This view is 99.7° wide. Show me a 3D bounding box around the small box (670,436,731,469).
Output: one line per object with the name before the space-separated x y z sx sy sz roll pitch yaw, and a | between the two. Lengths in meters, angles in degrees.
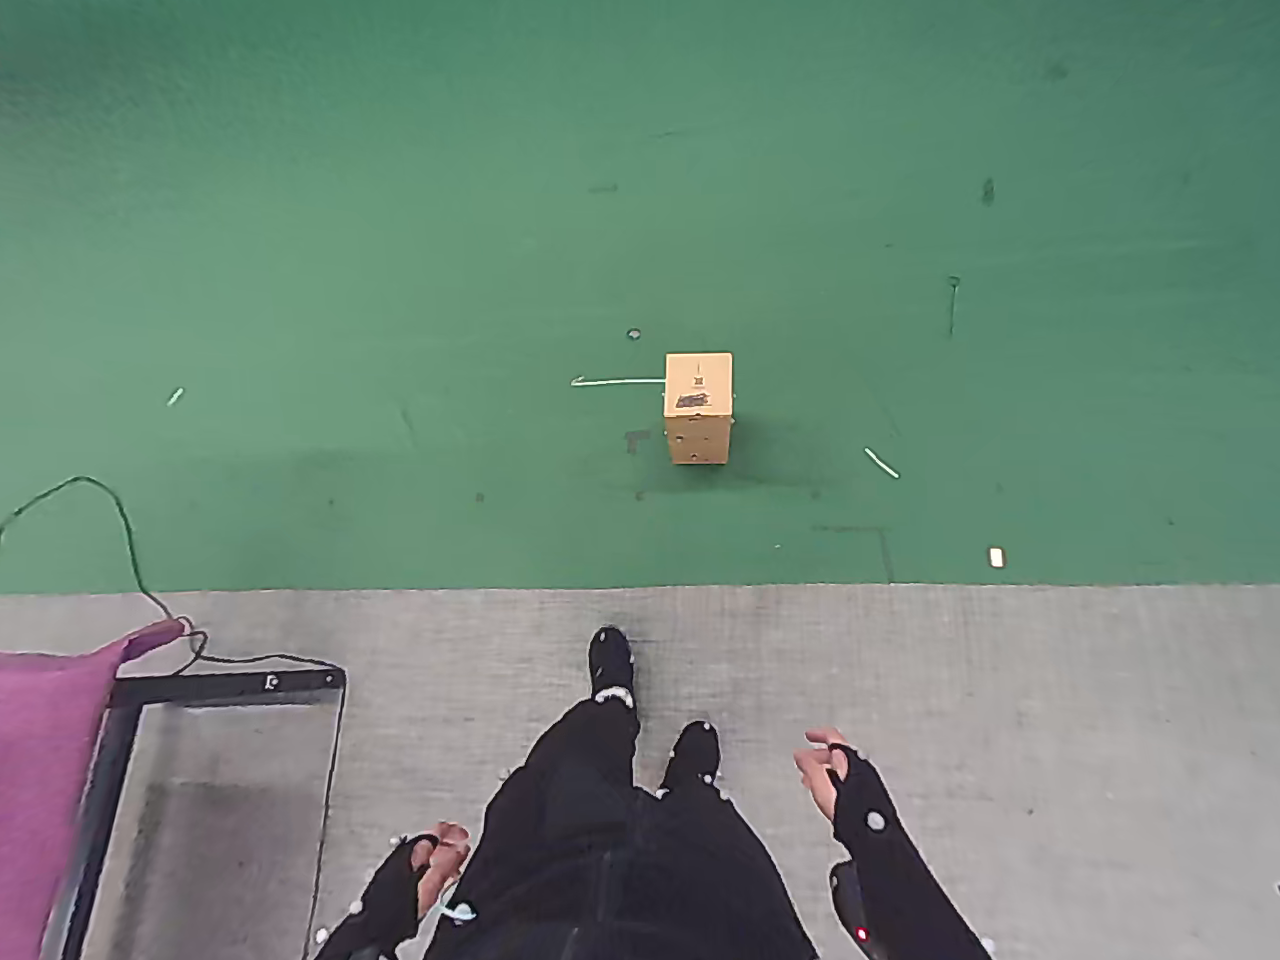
small box | 0.174 -0.142 1.560 0.168 0.176 0.179 0 72 7

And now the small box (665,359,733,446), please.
small box | 0.155 -0.195 1.406 0.168 0.176 0.179 1 71 7
